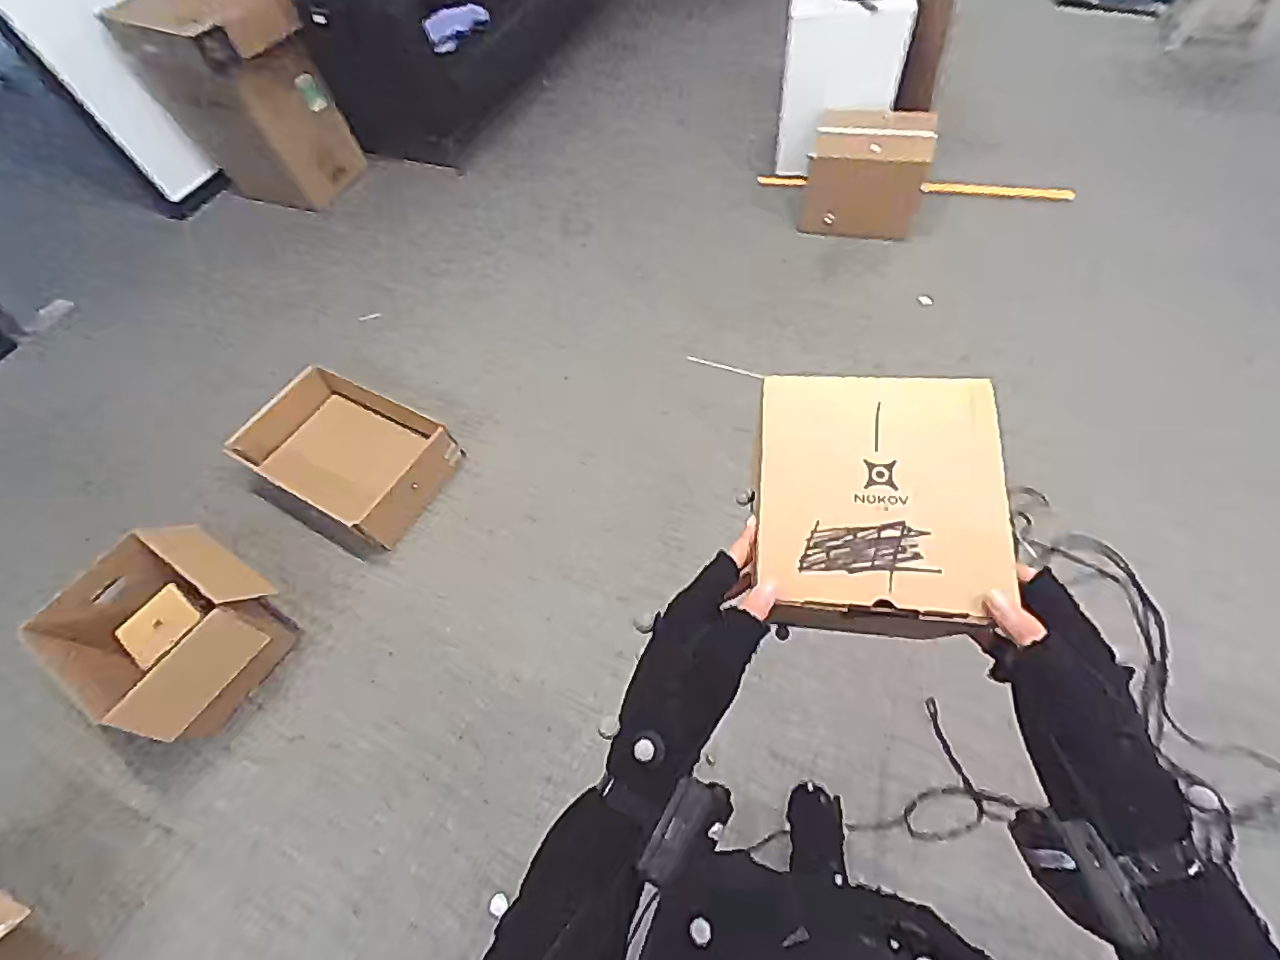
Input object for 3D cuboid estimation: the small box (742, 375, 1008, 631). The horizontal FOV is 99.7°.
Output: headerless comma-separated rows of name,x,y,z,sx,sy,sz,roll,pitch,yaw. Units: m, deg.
small box,0.175,0.029,0.459,0.168,0.176,0.179,2,69,9
